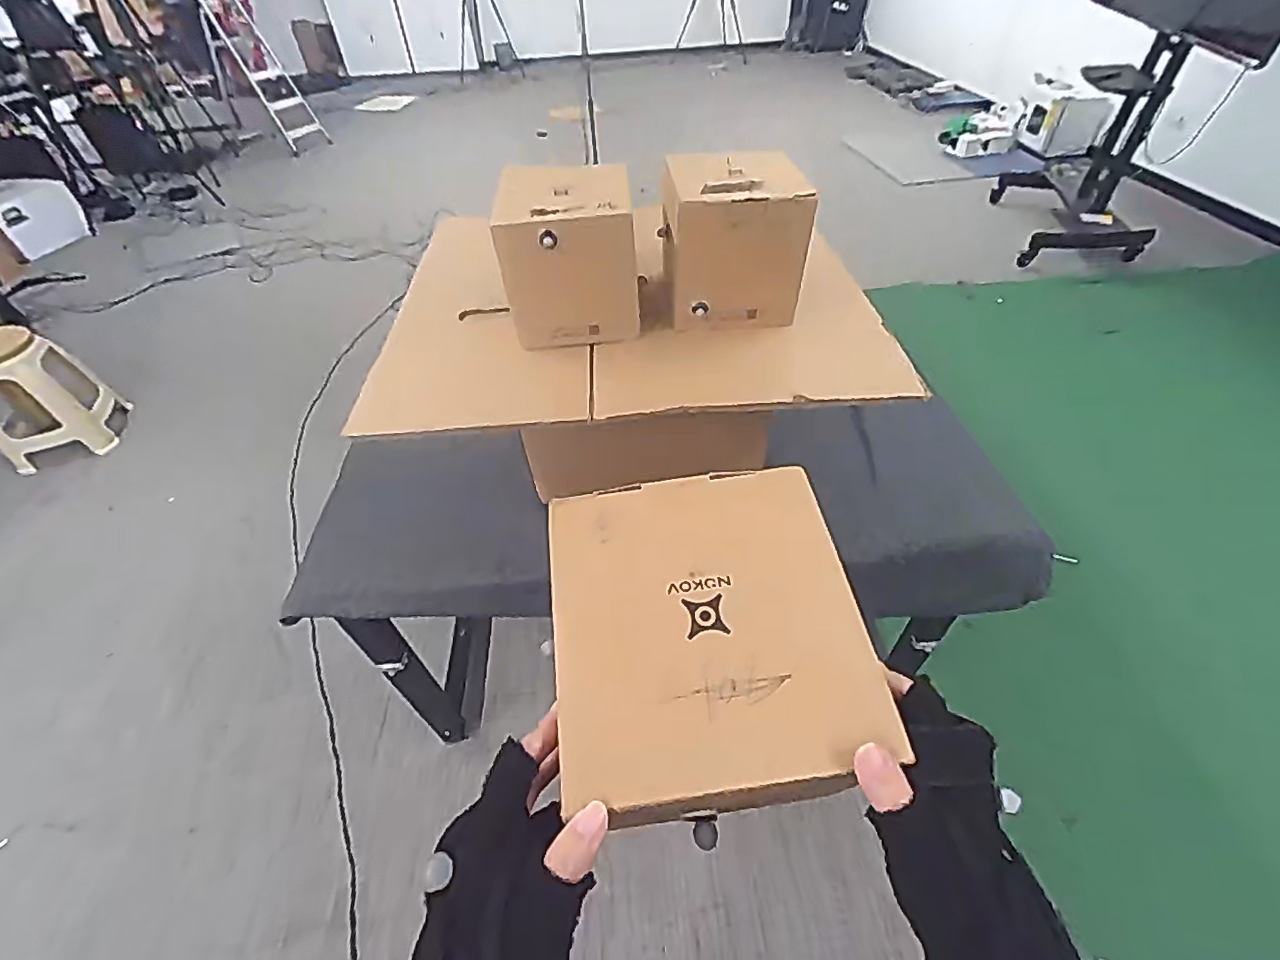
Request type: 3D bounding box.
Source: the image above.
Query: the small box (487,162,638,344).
[{"bbox_3d":[-0.093,-0.304,0.728,0.168,0.176,0.179,-6,46,0],"label":"small box"}]

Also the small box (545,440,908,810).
[{"bbox_3d":[0.034,0.099,0.354,0.168,0.176,0.179,-8,56,-2],"label":"small box"}]
